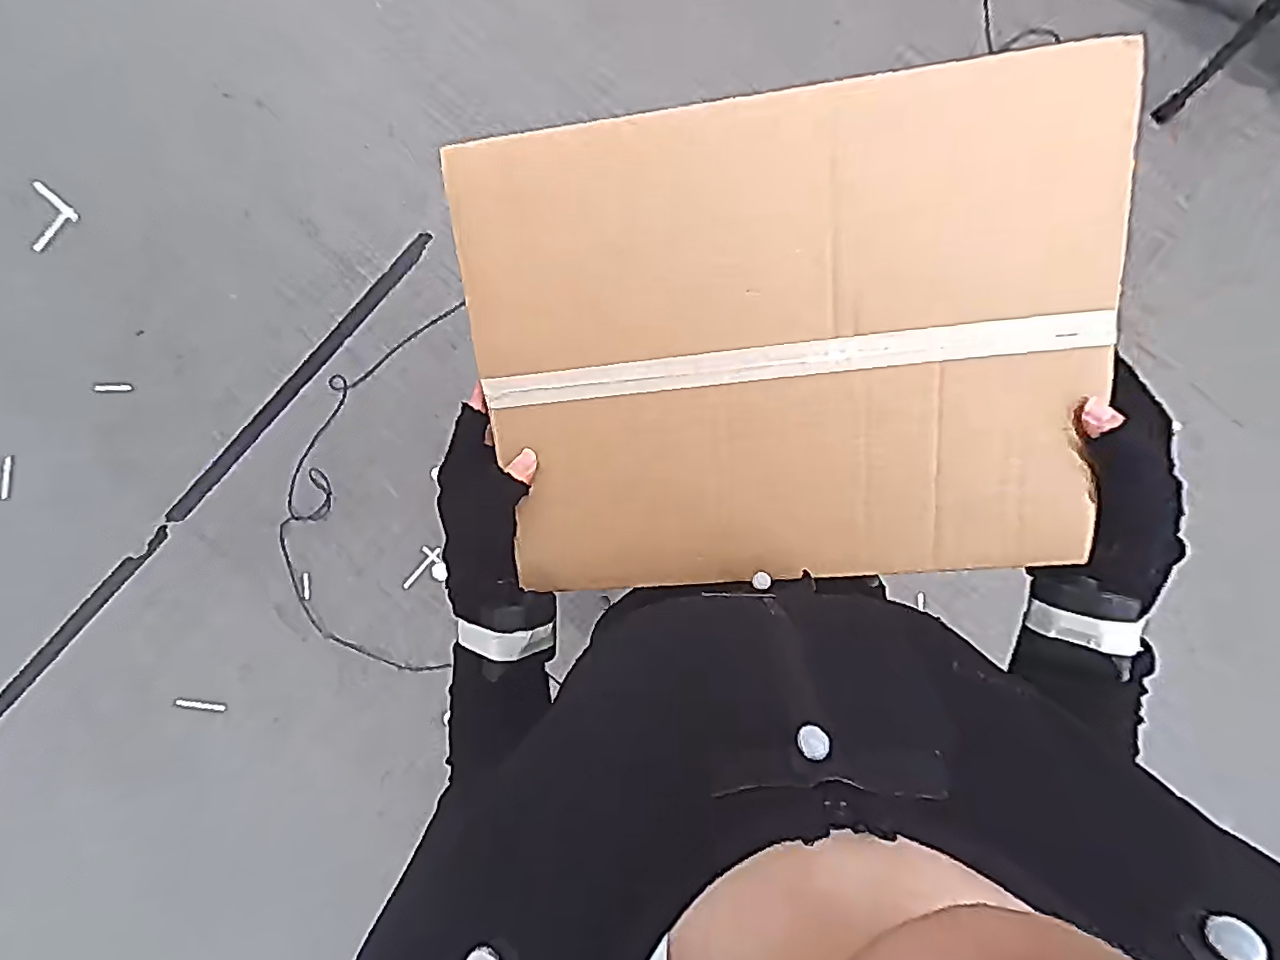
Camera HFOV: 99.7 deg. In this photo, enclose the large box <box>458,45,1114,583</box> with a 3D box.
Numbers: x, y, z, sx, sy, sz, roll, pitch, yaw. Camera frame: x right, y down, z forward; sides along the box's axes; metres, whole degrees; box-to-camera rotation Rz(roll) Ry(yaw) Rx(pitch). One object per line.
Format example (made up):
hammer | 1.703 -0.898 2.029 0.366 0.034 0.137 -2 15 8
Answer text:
large box | 0.104 -0.120 0.510 0.408 0.320 0.320 -5 106 7
